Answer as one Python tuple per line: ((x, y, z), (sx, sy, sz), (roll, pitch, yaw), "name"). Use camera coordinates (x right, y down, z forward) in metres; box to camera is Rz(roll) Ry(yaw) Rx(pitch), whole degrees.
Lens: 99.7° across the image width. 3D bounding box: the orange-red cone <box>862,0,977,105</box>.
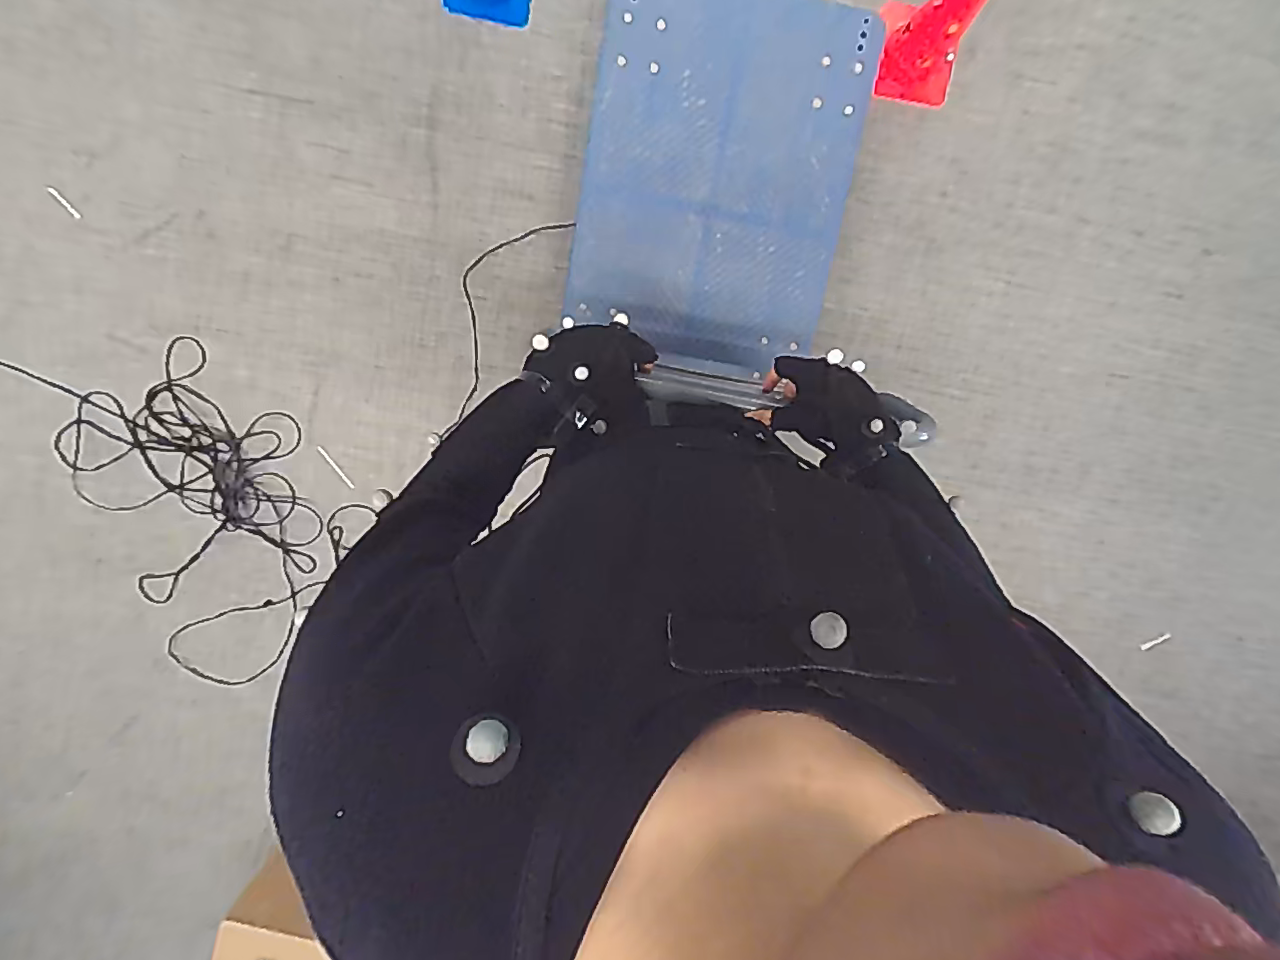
((0.644, -0.988, 1.127), (0.199, 0.360, 0.198), (10, 100, -1), "orange-red cone")
